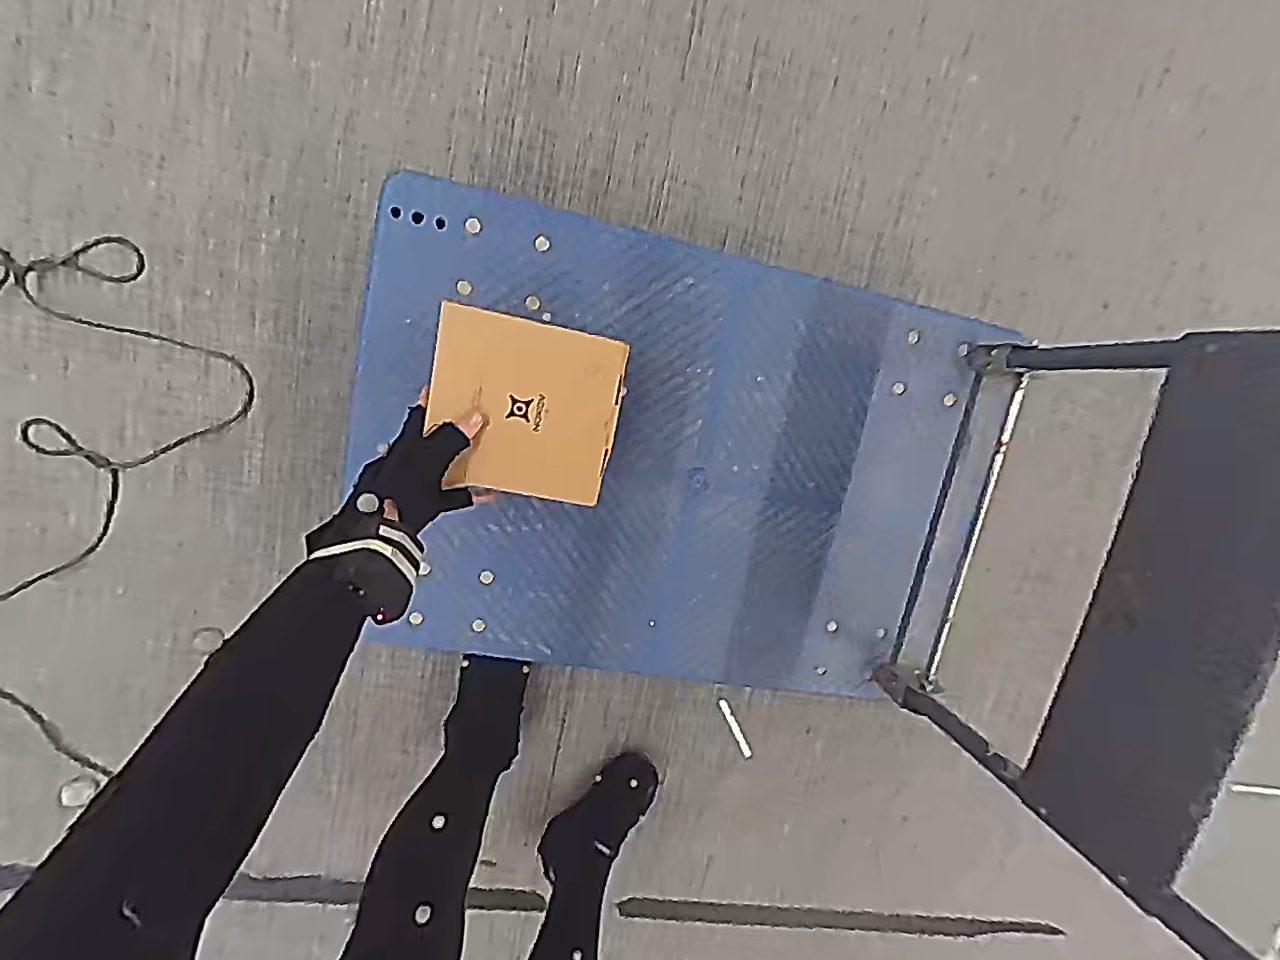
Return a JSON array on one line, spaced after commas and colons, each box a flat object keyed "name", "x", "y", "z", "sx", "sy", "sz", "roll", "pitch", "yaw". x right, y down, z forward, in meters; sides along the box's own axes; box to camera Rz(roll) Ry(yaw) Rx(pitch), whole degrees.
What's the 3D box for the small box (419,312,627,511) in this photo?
[{"name": "small box", "x": -0.123, "y": -0.076, "z": 0.598, "sx": 0.179, "sy": 0.176, "sz": 0.168, "roll": 11, "pitch": 98, "yaw": -9}]
